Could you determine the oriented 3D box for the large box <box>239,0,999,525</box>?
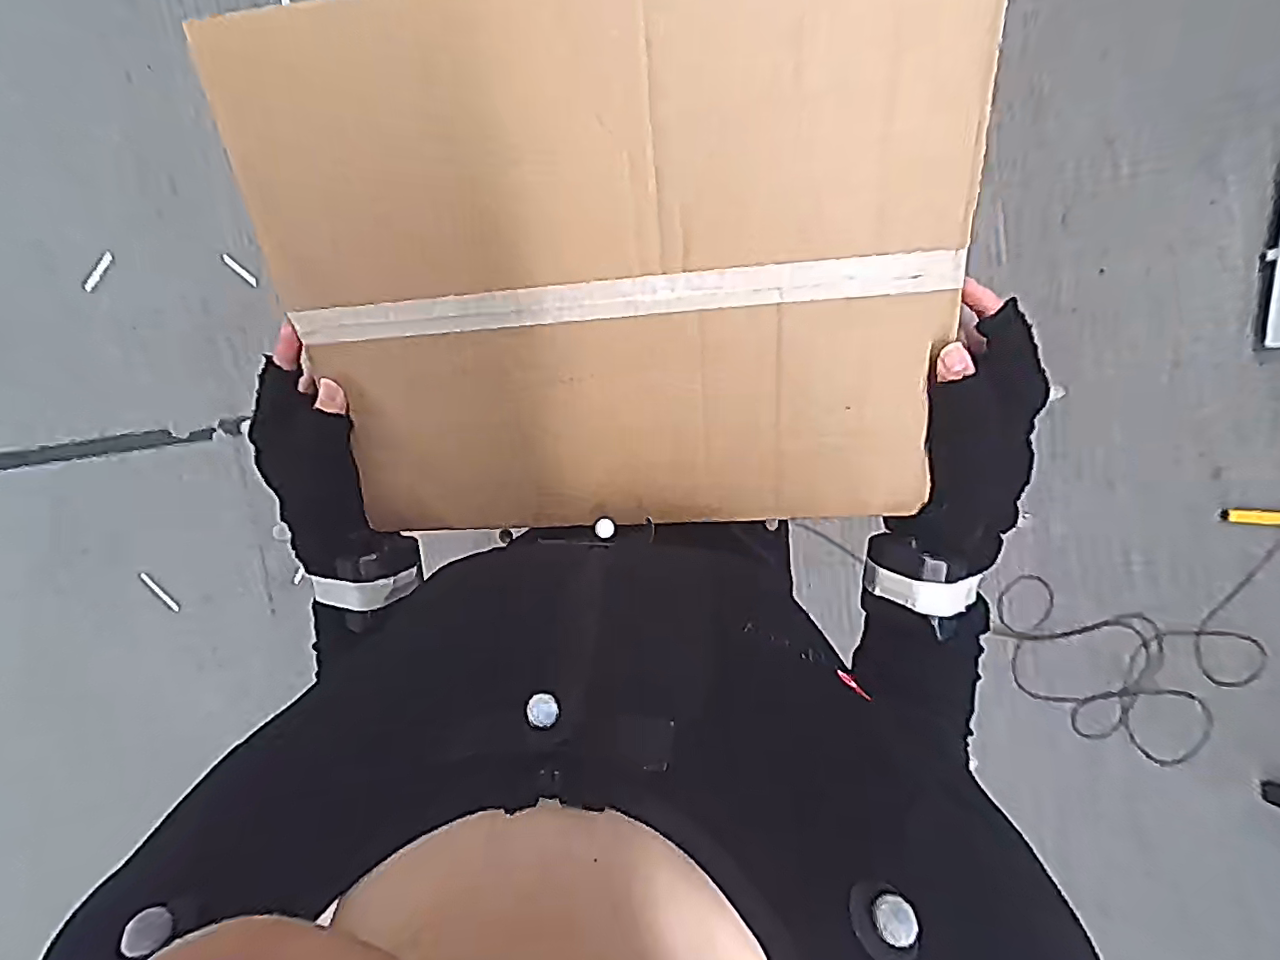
[{"bbox_3d":[0.000,-0.175,0.467,0.408,0.320,0.320,-2,117,7],"label":"large box"}]
